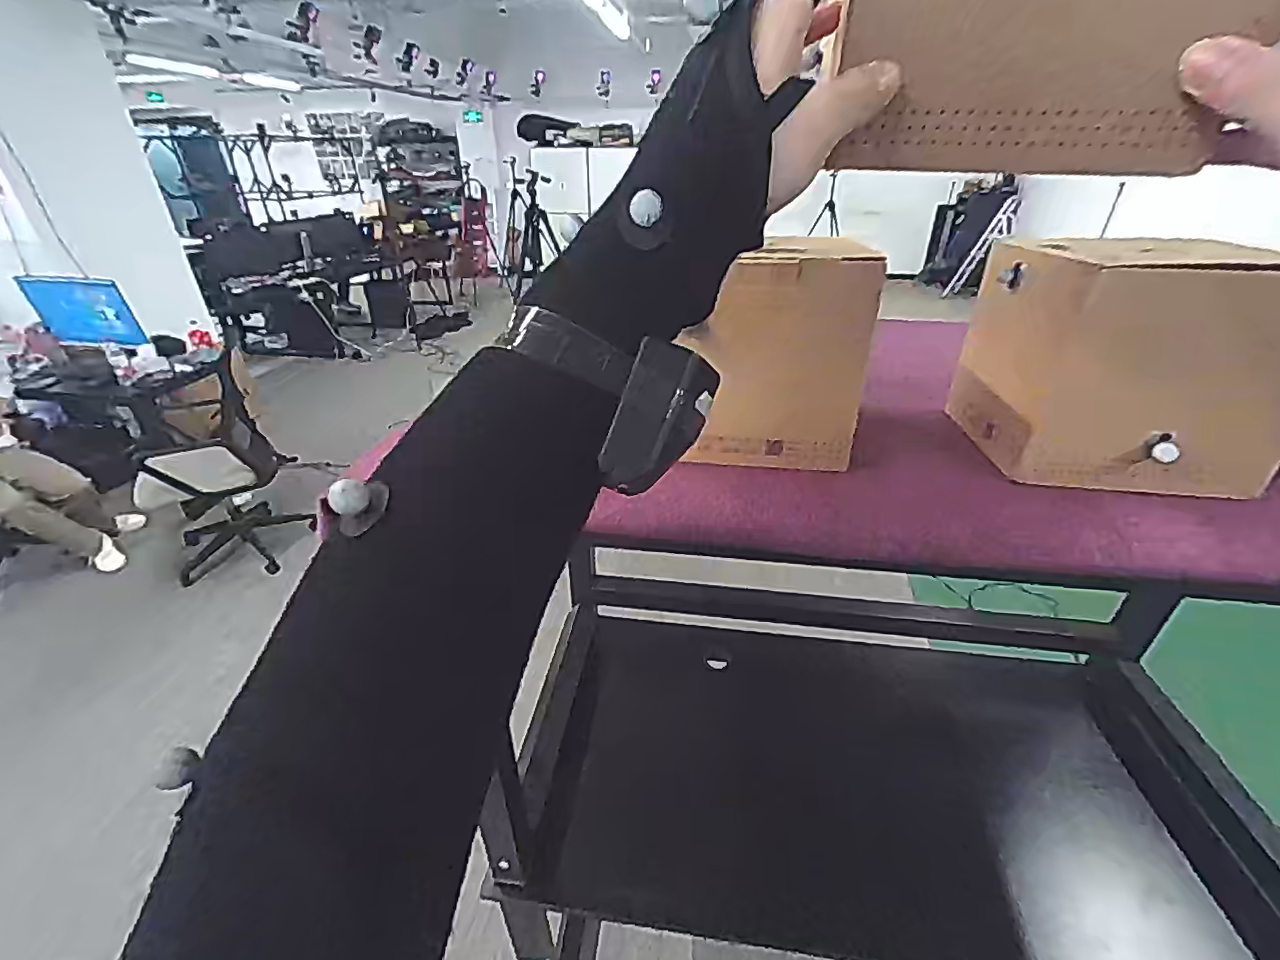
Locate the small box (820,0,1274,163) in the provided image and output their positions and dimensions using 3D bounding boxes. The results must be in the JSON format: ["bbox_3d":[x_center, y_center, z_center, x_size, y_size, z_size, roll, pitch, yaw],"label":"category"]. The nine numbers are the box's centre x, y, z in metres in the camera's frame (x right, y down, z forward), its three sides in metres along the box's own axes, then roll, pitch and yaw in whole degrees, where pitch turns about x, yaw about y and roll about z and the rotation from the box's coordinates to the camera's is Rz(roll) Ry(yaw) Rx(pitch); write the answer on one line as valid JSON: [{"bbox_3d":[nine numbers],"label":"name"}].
[{"bbox_3d":[0.192,-0.272,0.269,0.179,0.176,0.168,7,46,8],"label":"small box"}]

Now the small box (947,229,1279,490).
[{"bbox_3d":[0.391,-0.104,0.445,0.179,0.176,0.168,4,29,7],"label":"small box"}]
